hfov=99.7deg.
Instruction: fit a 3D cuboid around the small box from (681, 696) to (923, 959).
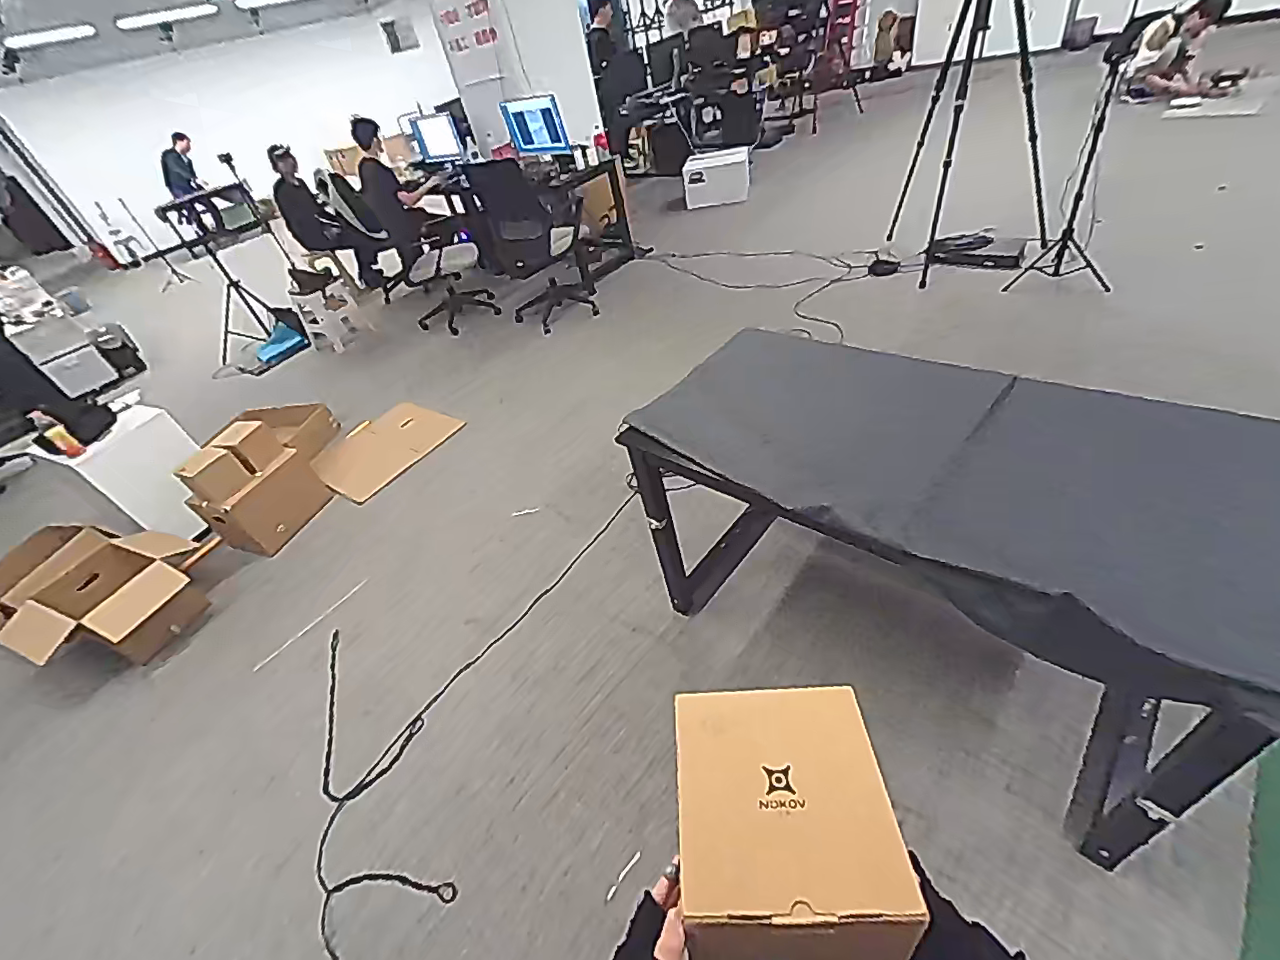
[{"bbox_3d":[0.123,0.323,0.489,0.168,0.176,0.179,-5,35,5],"label":"small box"}]
